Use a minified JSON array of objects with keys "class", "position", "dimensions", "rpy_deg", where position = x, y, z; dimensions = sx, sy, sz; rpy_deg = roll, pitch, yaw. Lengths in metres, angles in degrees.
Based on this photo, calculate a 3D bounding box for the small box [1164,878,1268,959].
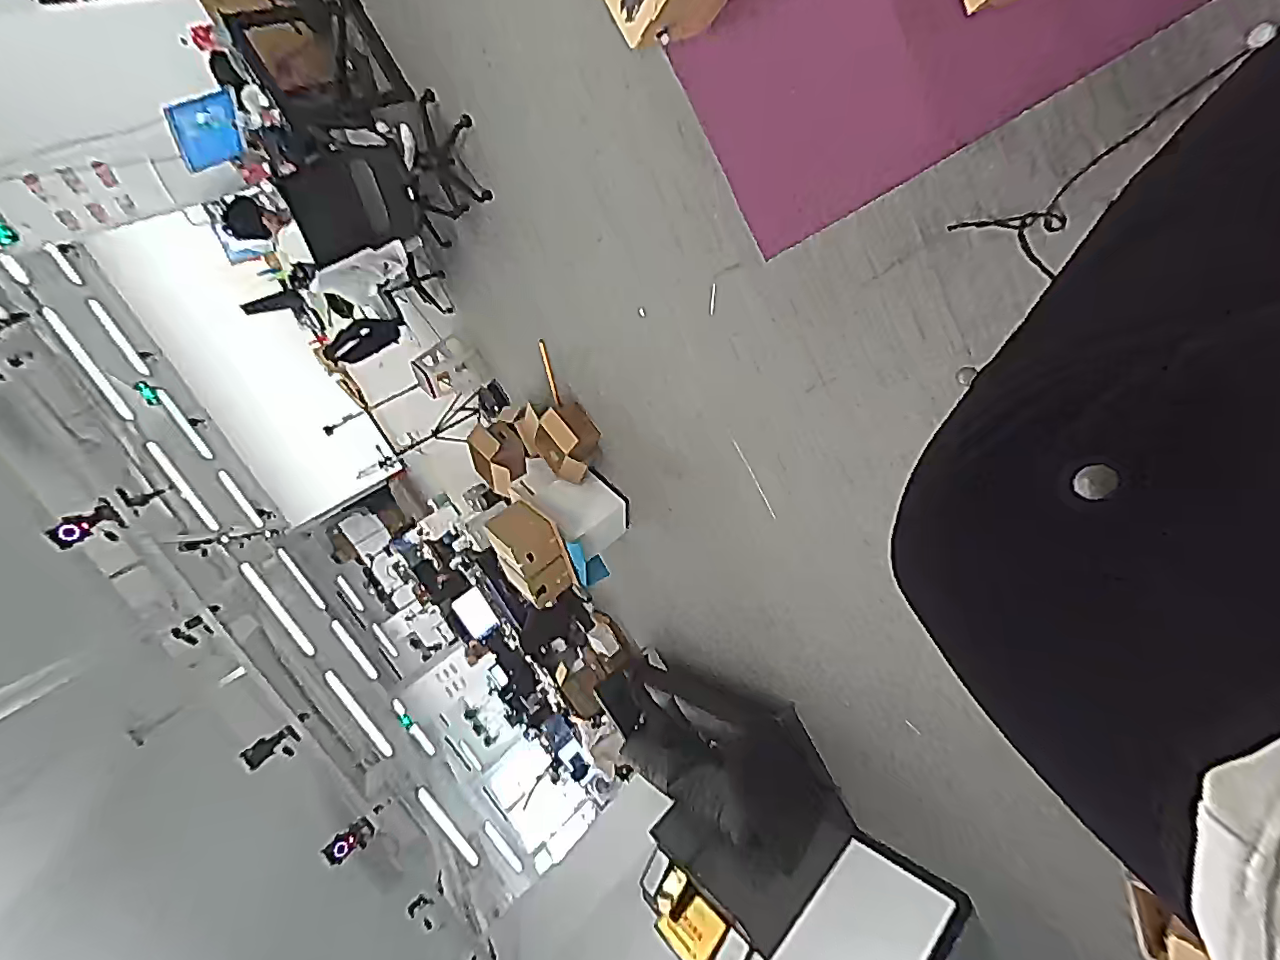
[{"class":"small box","position":[1.528,1.223,1.435],"dimensions":[0.168,0.176,0.179],"rpy_deg":[10,129,54]}]
